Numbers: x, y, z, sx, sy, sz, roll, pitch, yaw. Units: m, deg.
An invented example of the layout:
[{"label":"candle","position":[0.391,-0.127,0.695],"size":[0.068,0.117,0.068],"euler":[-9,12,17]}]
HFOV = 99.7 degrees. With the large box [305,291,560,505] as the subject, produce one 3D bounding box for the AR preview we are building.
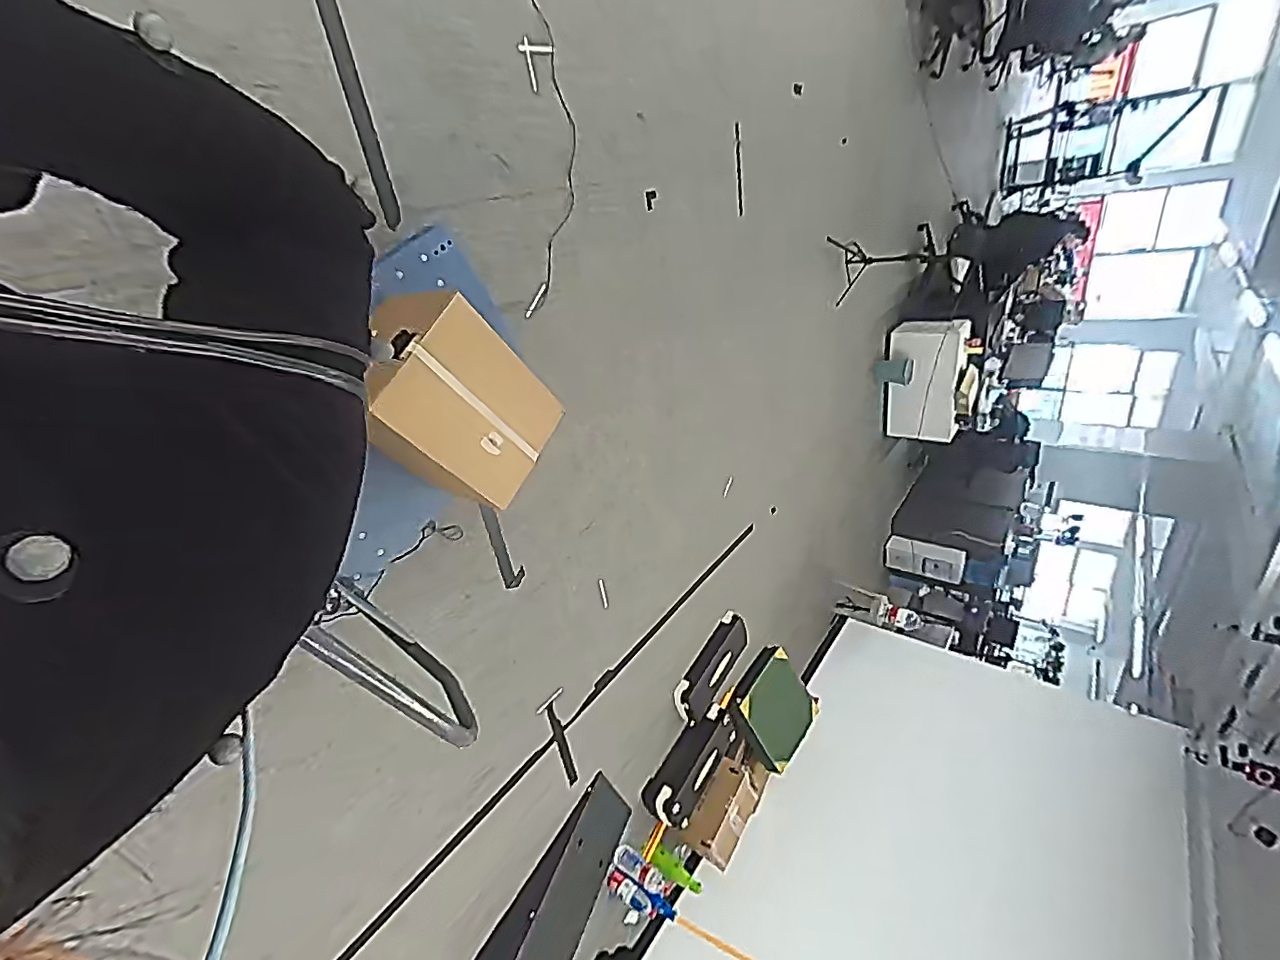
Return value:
[{"label":"large box","position":[-0.476,-0.190,1.292],"size":[0.320,0.320,0.408],"euler":[-61,140,-18]}]
